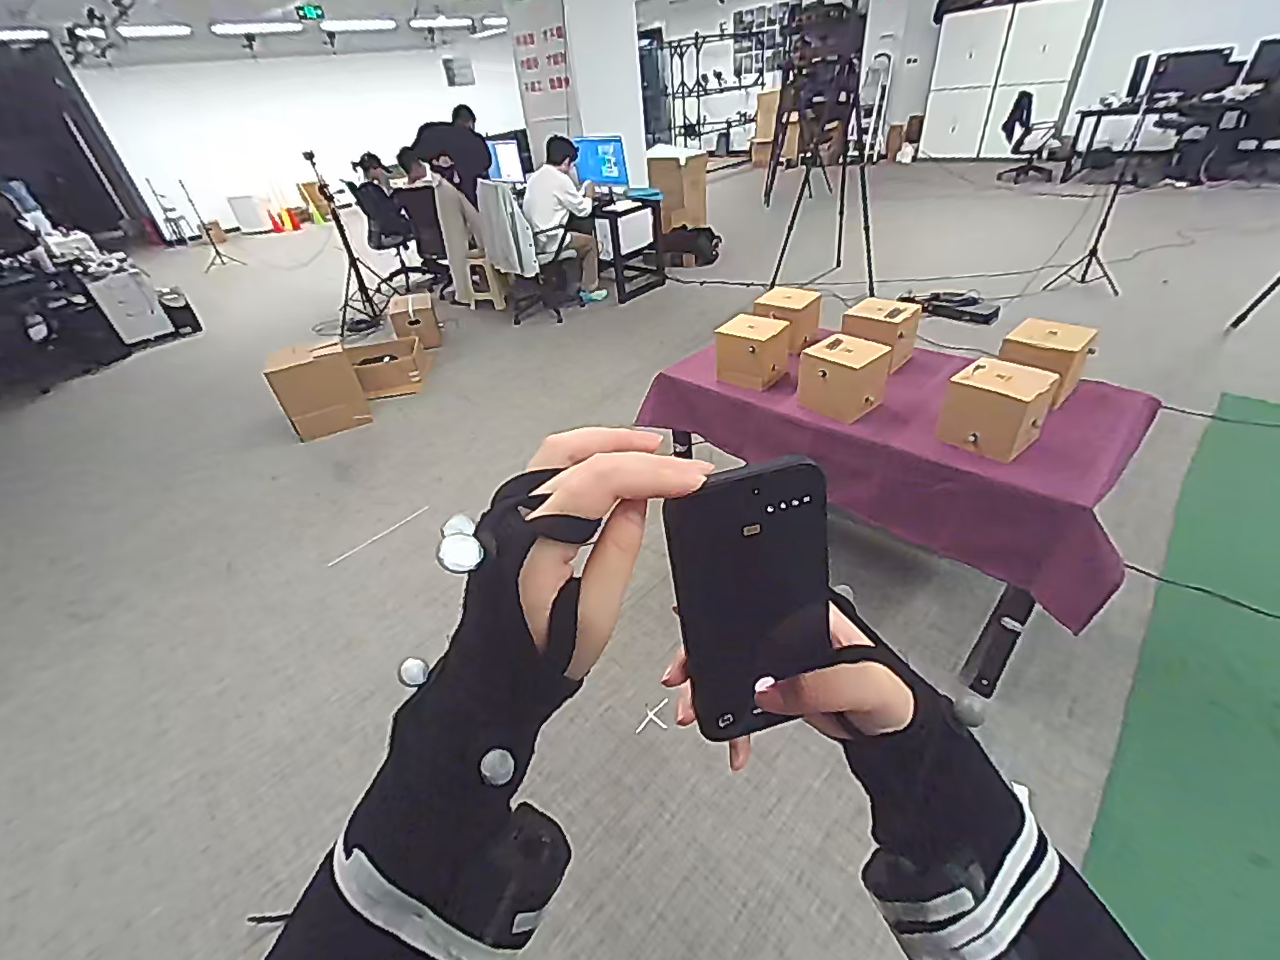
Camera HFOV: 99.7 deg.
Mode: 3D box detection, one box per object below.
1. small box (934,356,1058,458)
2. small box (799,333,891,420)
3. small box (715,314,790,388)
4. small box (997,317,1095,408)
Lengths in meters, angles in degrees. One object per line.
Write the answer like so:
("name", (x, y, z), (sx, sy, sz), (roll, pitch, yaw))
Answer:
("small box", (0.853, -0.174, 1.308), (0.168, 0.176, 0.179), (-29, 42, -28))
("small box", (0.565, -0.289, 1.512), (0.168, 0.176, 0.179), (-30, 43, -28))
("small box", (0.351, -0.407, 1.709), (0.179, 0.176, 0.168), (22, 45, 32))
("small box", (1.081, -0.320, 1.466), (0.179, 0.176, 0.168), (-33, 43, -29))
